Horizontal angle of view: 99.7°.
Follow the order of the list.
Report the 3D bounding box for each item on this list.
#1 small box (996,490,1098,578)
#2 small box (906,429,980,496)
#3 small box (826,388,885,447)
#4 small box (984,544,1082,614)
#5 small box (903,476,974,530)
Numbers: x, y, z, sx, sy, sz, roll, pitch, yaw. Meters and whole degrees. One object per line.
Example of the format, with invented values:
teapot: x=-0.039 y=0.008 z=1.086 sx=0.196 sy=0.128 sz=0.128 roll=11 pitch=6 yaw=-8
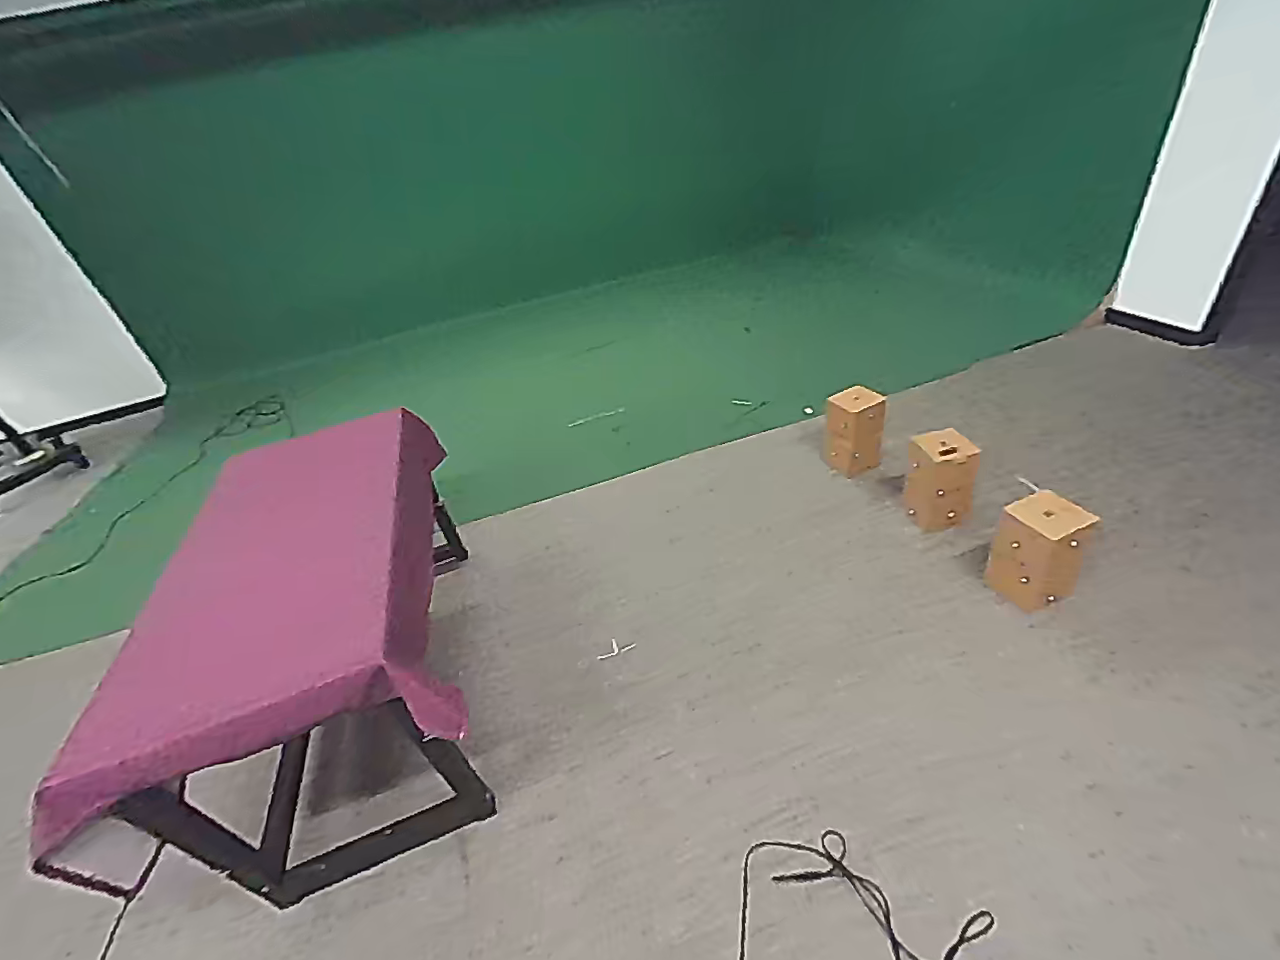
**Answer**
small box: x=1.206 y=0.164 z=1.621 sx=0.179 sy=0.176 sz=0.168 roll=-20 pitch=37 yaw=-11
small box: x=1.089 y=-0.057 z=1.958 sx=0.168 sy=0.176 sz=0.179 roll=-13 pitch=34 yaw=0
small box: x=0.915 y=-0.266 z=2.302 sx=0.179 sy=0.176 sz=0.168 roll=-23 pitch=37 yaw=-15
small box: x=1.240 y=0.291 z=1.721 sx=0.168 sy=0.176 sz=0.179 roll=-21 pitch=37 yaw=-11
small box: x=1.127 y=0.073 z=2.054 sx=0.168 sy=0.176 sz=0.179 roll=-13 pitch=36 yaw=-1
